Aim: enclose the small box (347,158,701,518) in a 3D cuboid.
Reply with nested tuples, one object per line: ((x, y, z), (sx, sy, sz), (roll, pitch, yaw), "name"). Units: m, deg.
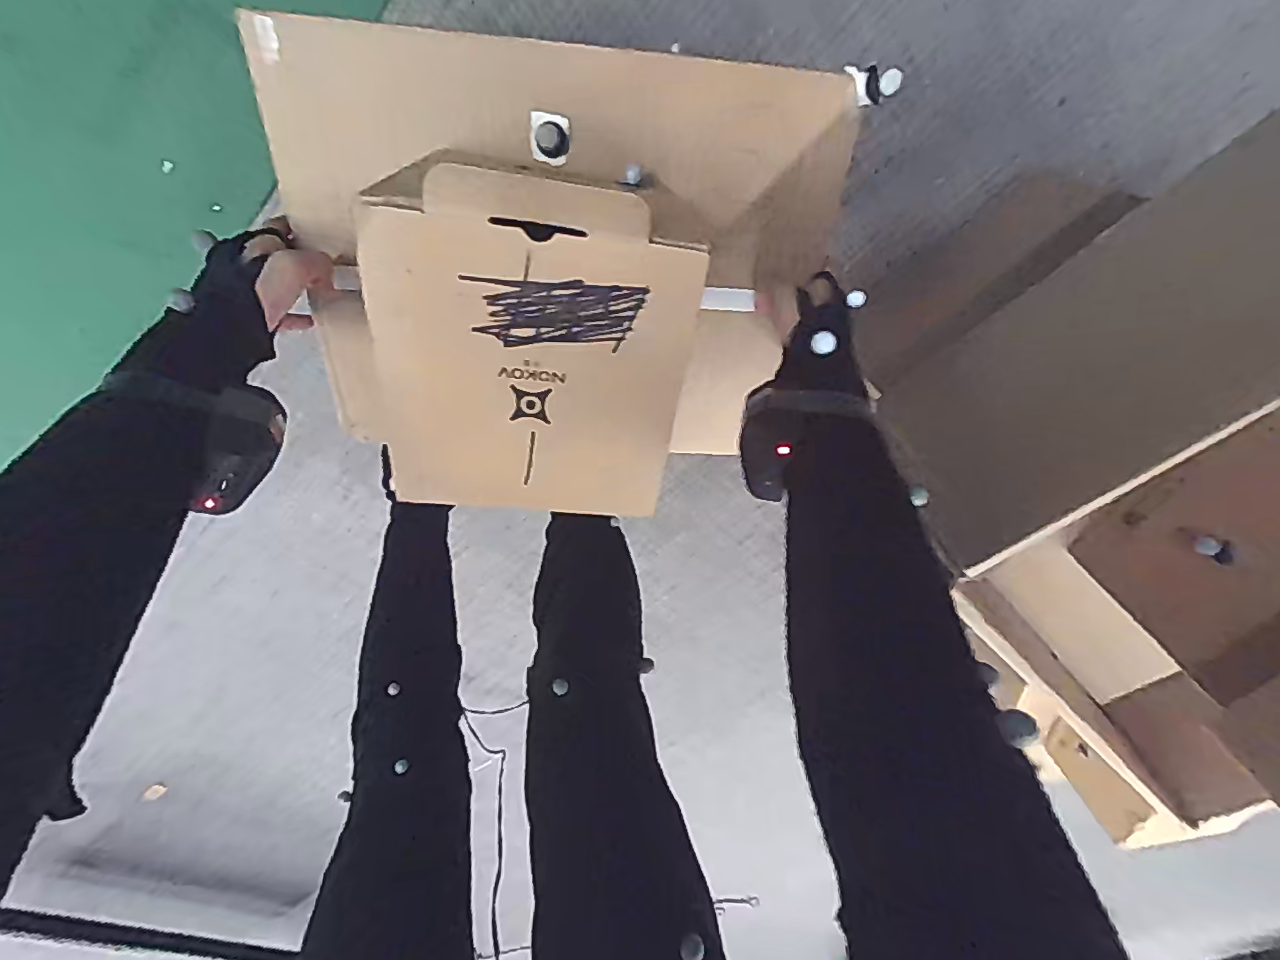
((-0.069, -0.098, 0.360), (0.168, 0.176, 0.179), (5, 127, -8), "small box")

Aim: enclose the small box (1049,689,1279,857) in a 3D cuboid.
((0.797, 0.447, 0.838), (0.179, 0.176, 0.168), (-11, 126, 2), "small box")

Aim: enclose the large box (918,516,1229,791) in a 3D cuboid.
((0.780, 0.339, 1.060), (0.320, 0.320, 0.408), (-14, 127, 5), "large box")
